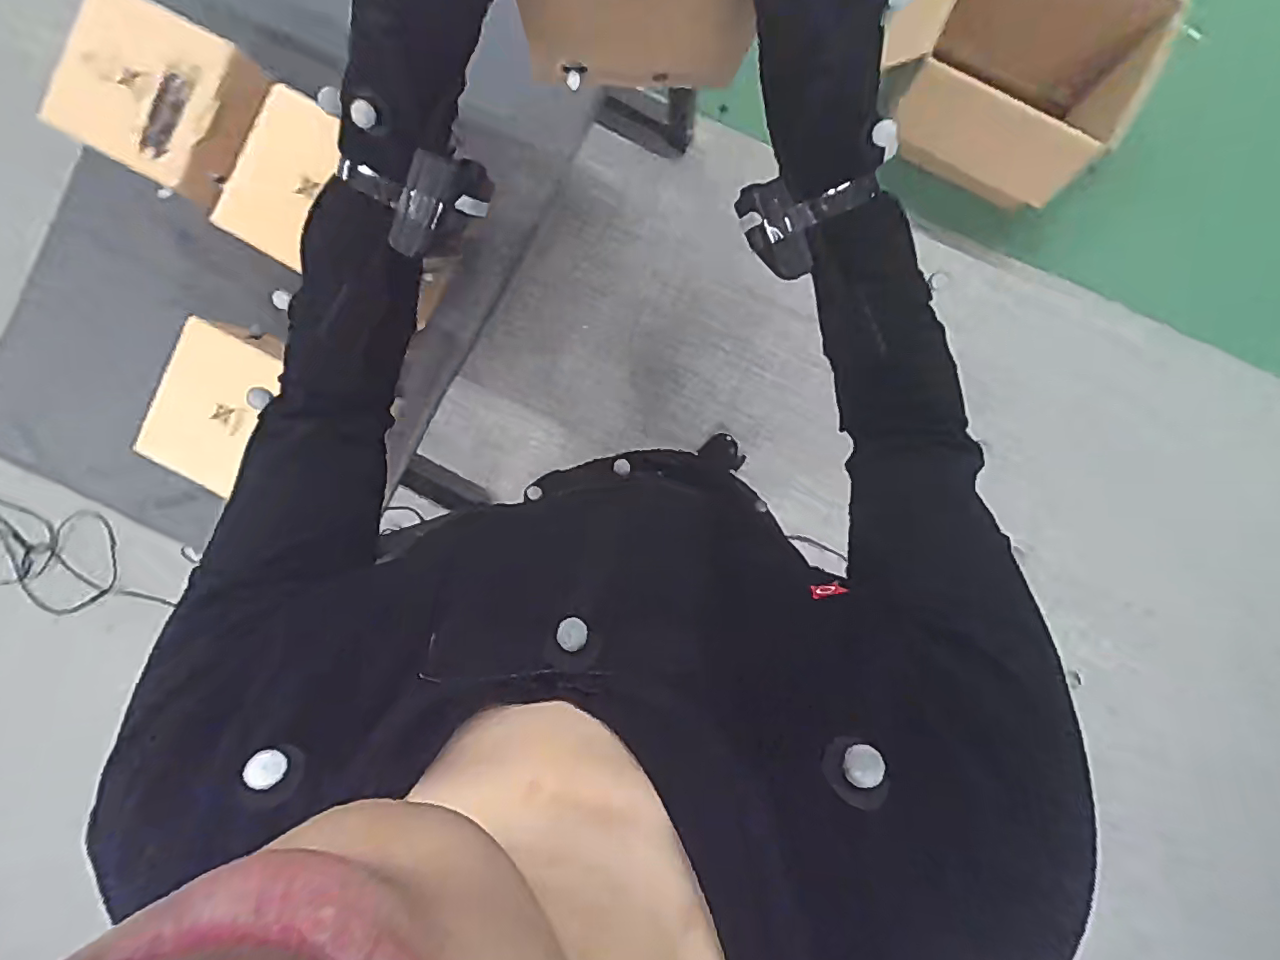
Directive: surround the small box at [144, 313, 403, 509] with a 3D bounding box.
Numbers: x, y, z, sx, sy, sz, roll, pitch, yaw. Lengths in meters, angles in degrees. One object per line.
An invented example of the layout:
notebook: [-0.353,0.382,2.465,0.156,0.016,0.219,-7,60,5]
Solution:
small box: [-0.442,-0.080,0.680,0.179,0.176,0.168,27,95,0]
